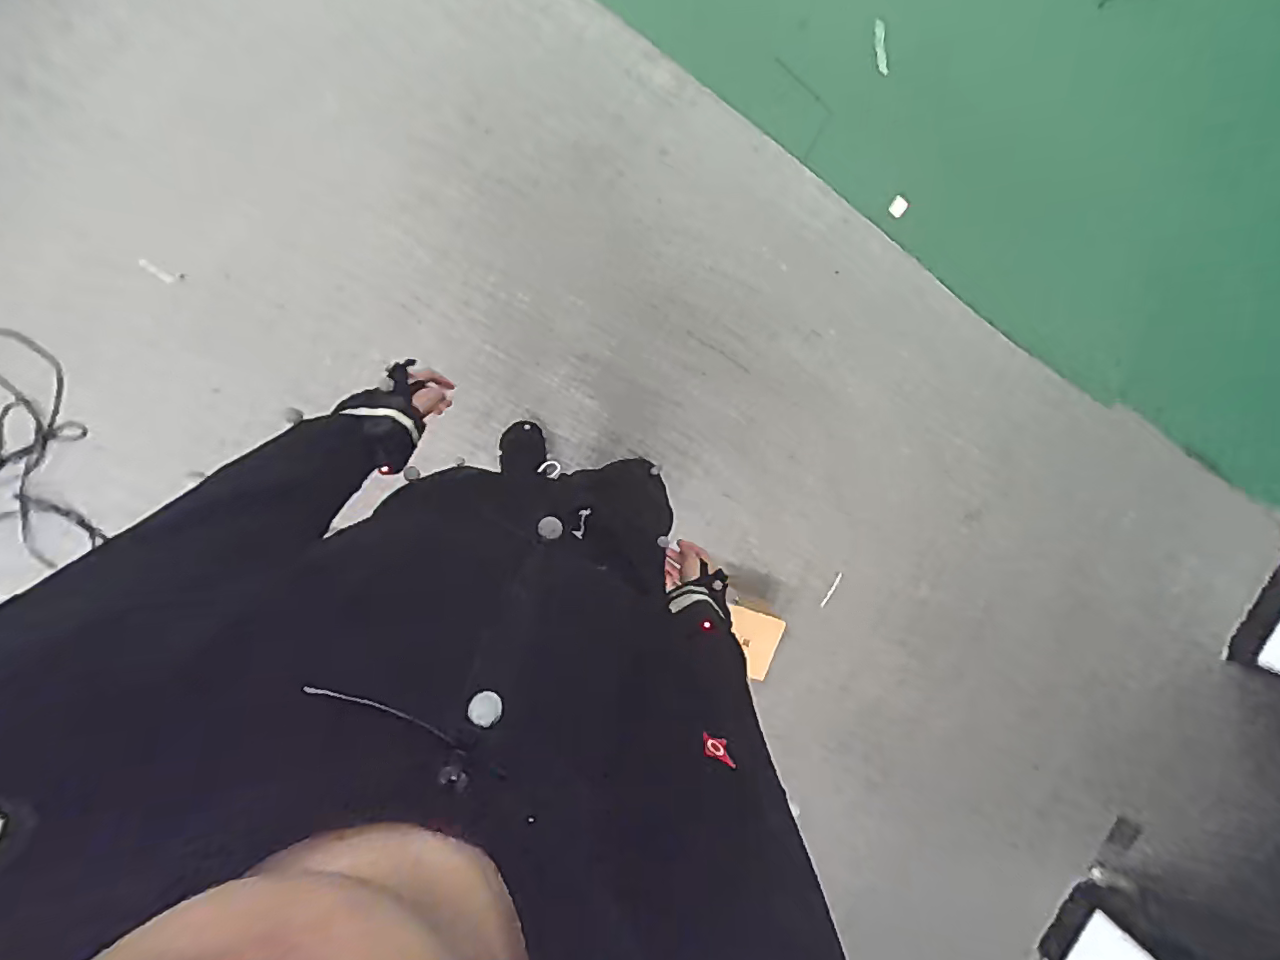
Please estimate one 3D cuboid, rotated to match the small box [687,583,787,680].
[{"bbox_3d":[0.245,0.387,1.404,0.179,0.176,0.168,20,95,-12],"label":"small box"}]
